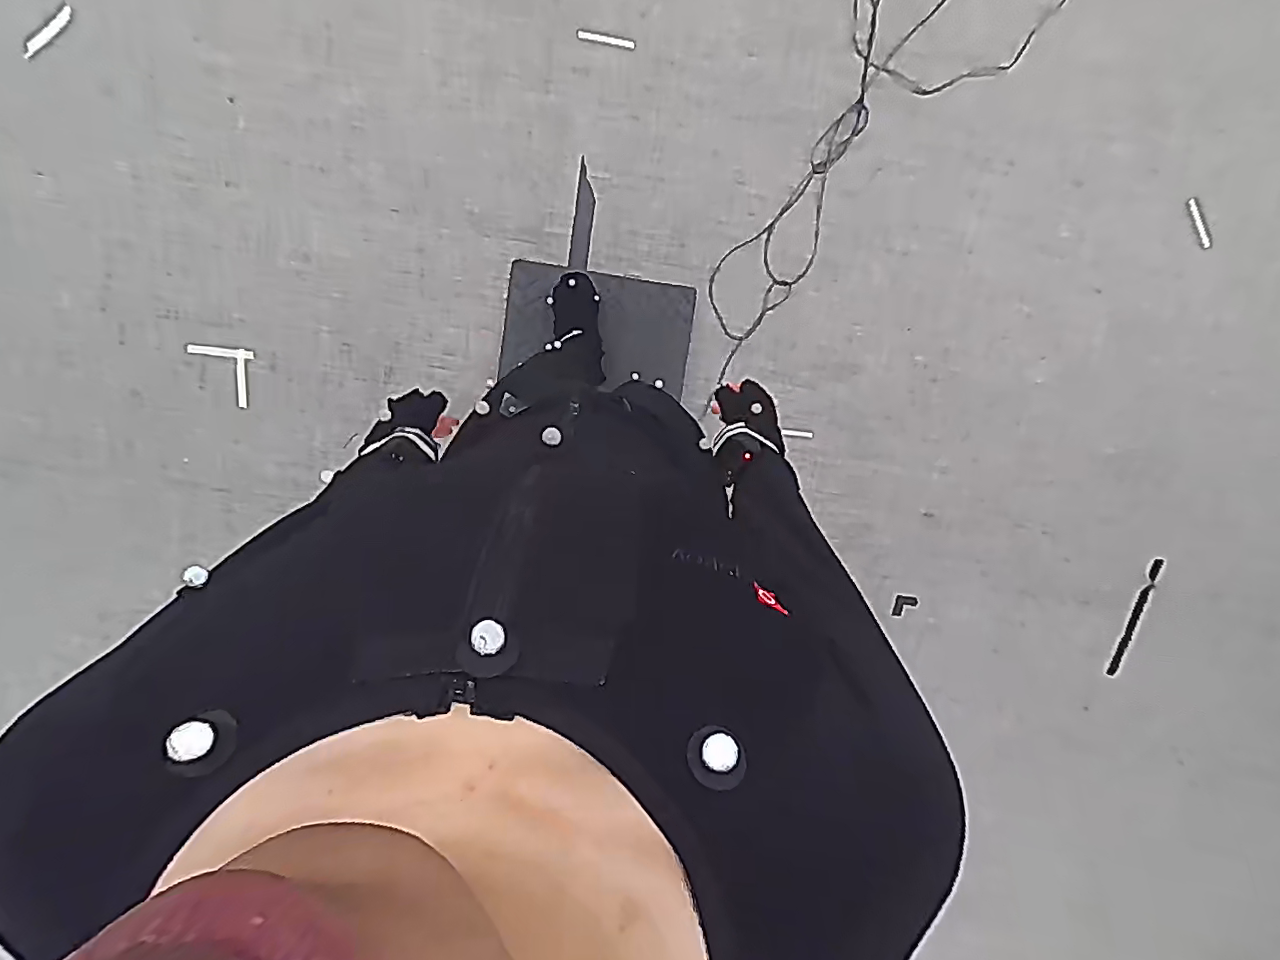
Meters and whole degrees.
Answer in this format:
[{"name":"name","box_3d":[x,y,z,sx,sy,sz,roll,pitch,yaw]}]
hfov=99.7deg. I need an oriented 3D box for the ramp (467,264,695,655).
[{"name":"ramp","box_3d":[-0.161,-0.044,1.449,0.509,0.206,0.991,7,102,-2]}]
